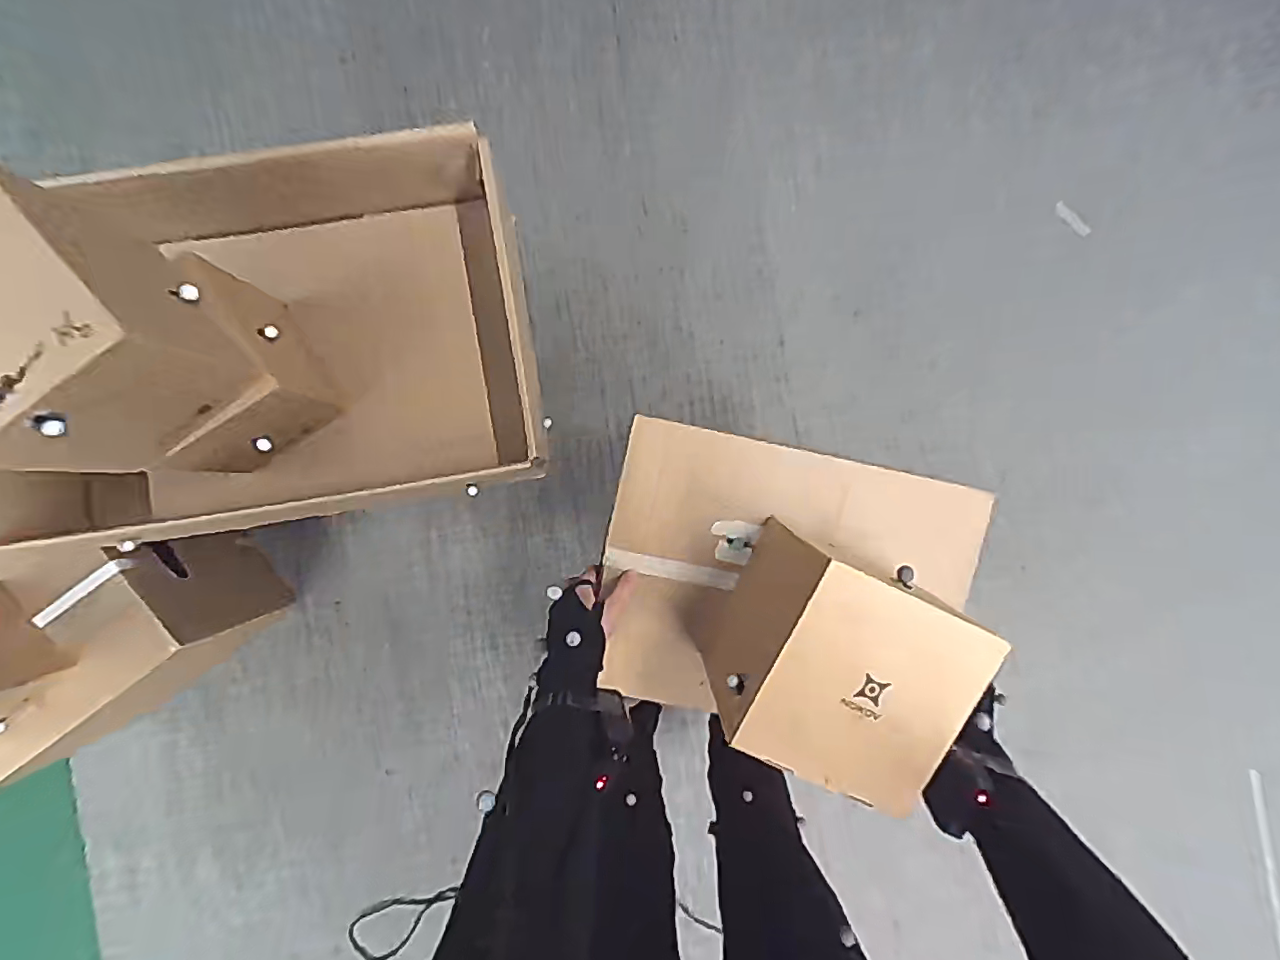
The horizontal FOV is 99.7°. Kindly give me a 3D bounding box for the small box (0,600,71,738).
[{"bbox_3d":[-0.953,0.275,0.720,0.168,0.176,0.179,-42,92,-2],"label":"small box"}]

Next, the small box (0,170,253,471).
[{"bbox_3d":[-0.508,-0.121,0.477,0.168,0.176,0.179,-39,91,-3],"label":"small box"}]

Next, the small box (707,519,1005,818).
[{"bbox_3d":[0.176,0.156,0.505,0.168,0.176,0.179,25,98,-5],"label":"small box"}]

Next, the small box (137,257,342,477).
[{"bbox_3d":[-0.500,-0.119,0.642,0.168,0.176,0.179,-33,91,-4],"label":"small box"}]

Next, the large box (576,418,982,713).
[{"bbox_3d":[0.150,0.102,0.744,0.408,0.320,0.320,11,96,-2],"label":"large box"}]
